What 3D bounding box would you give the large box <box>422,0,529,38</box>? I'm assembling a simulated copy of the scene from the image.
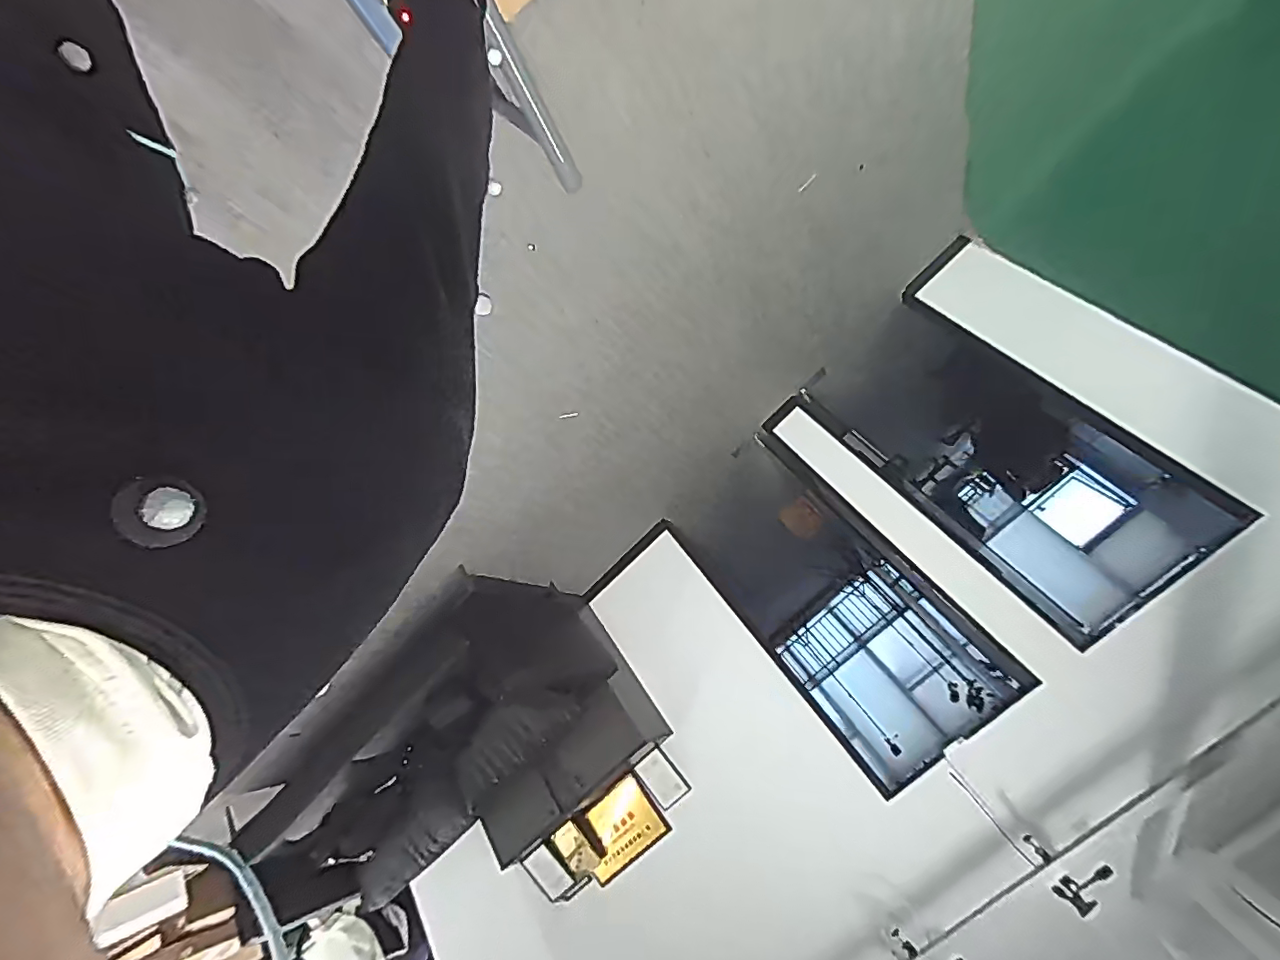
[{"bbox_3d":[-0.249,-1.010,0.831,0.408,0.320,0.320,-41,151,1],"label":"large box"}]
